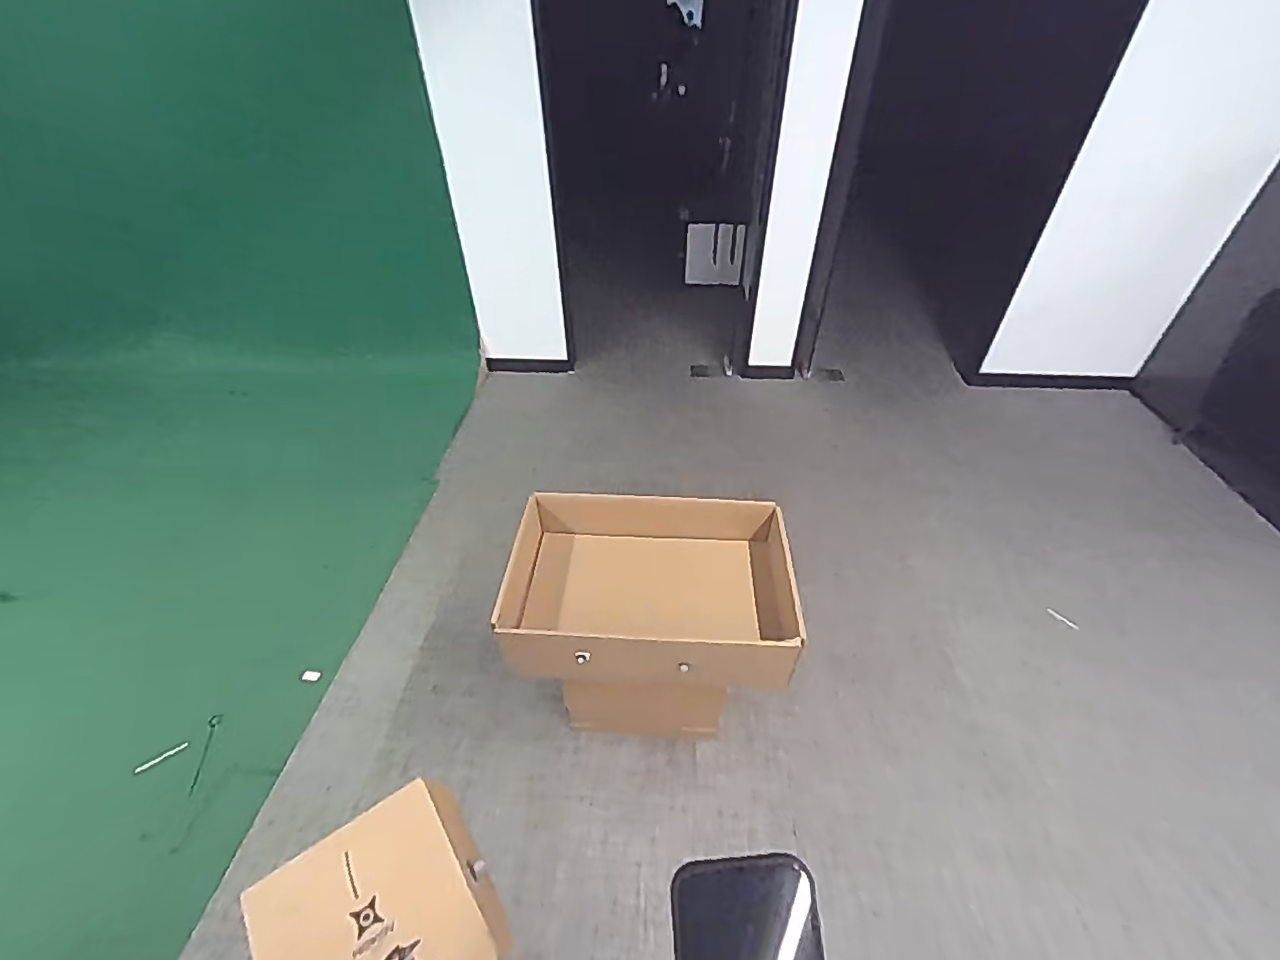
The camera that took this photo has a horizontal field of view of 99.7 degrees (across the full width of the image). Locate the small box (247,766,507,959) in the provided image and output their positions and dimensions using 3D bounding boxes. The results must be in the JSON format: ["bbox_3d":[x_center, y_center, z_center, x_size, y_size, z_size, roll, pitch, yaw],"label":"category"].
[{"bbox_3d":[-0.248,0.424,0.548,0.168,0.176,0.179,-27,65,-23],"label":"small box"}]
